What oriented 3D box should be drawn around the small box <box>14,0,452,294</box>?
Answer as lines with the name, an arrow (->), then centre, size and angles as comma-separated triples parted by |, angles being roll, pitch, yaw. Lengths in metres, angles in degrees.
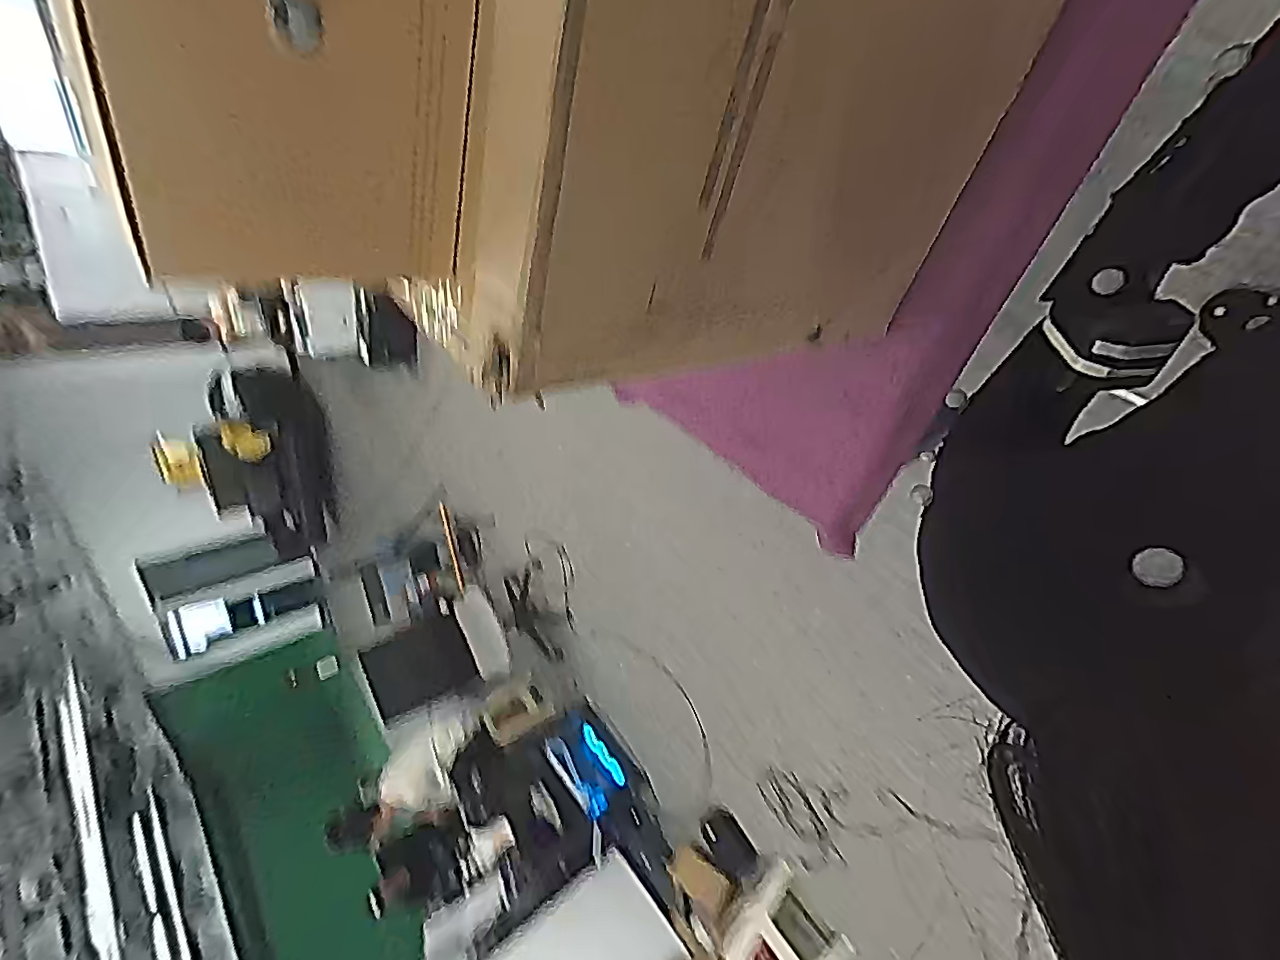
small box -> -0.224, -0.226, 0.310 | 0.168, 0.176, 0.179 | 43, 133, 30
